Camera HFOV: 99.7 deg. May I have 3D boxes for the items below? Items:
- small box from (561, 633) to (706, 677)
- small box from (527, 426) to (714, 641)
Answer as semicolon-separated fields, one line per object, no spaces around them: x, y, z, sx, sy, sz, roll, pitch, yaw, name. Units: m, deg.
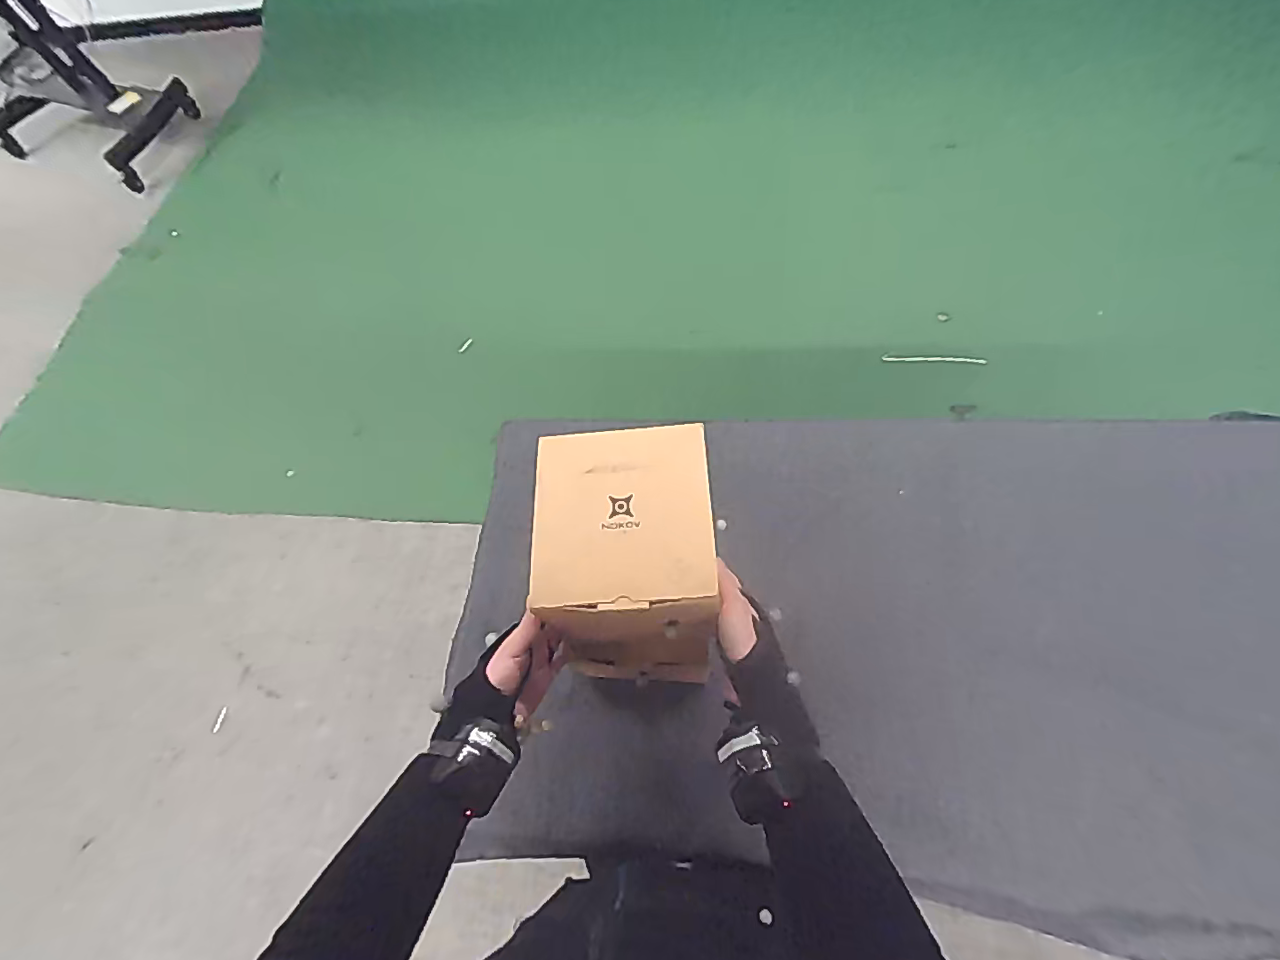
0.004;0.157;0.702;0.168;0.176;0.179;1;65;6;small box
-0.011;0.066;0.565;0.168;0.176;0.179;-4;62;3;small box
